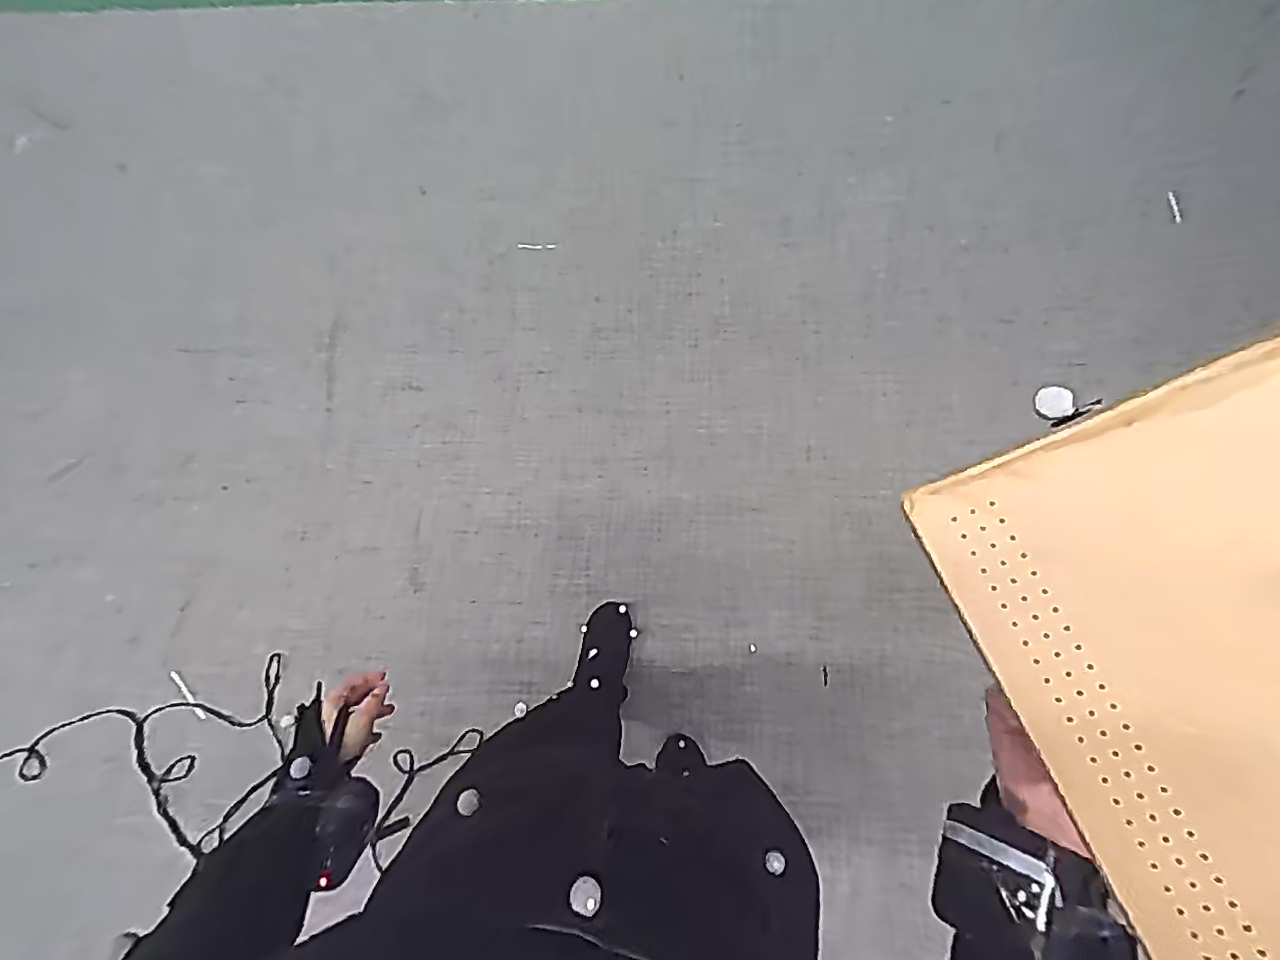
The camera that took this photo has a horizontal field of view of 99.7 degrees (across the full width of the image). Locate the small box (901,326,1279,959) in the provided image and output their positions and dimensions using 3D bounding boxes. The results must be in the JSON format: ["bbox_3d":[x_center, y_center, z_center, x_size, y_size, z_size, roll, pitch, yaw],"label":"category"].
[{"bbox_3d":[0.230,0.053,0.226,0.176,0.168,0.179,-31,77,23],"label":"small box"}]
